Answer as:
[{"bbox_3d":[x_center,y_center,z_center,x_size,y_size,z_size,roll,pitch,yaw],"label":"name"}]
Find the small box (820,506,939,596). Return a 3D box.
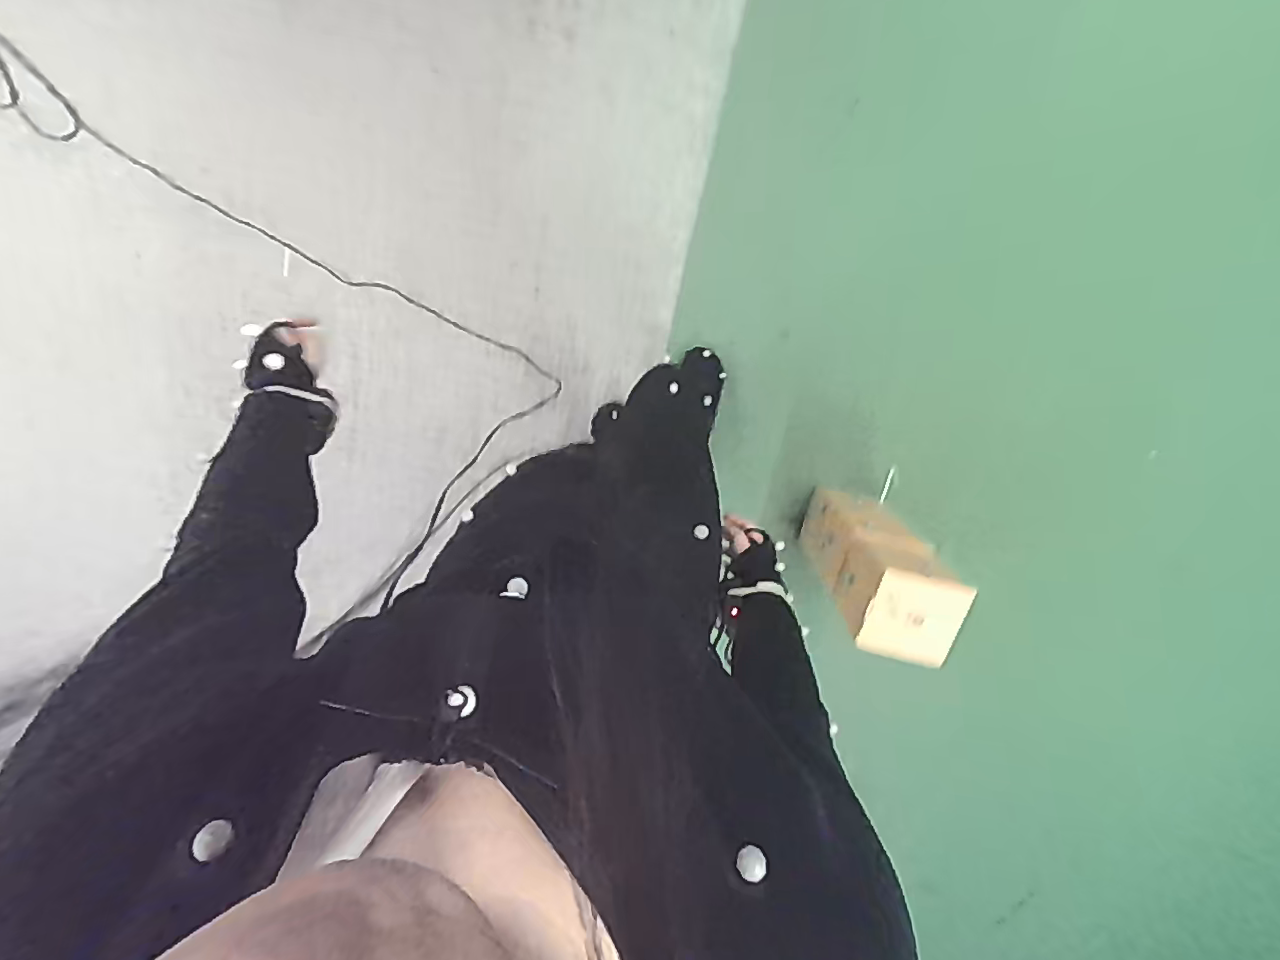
[{"bbox_3d":[0.539,0.174,1.241,0.179,0.176,0.168,12,108,1],"label":"small box"}]

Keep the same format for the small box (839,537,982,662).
[{"bbox_3d":[0.529,0.230,1.086,0.179,0.176,0.168,14,108,1],"label":"small box"}]
